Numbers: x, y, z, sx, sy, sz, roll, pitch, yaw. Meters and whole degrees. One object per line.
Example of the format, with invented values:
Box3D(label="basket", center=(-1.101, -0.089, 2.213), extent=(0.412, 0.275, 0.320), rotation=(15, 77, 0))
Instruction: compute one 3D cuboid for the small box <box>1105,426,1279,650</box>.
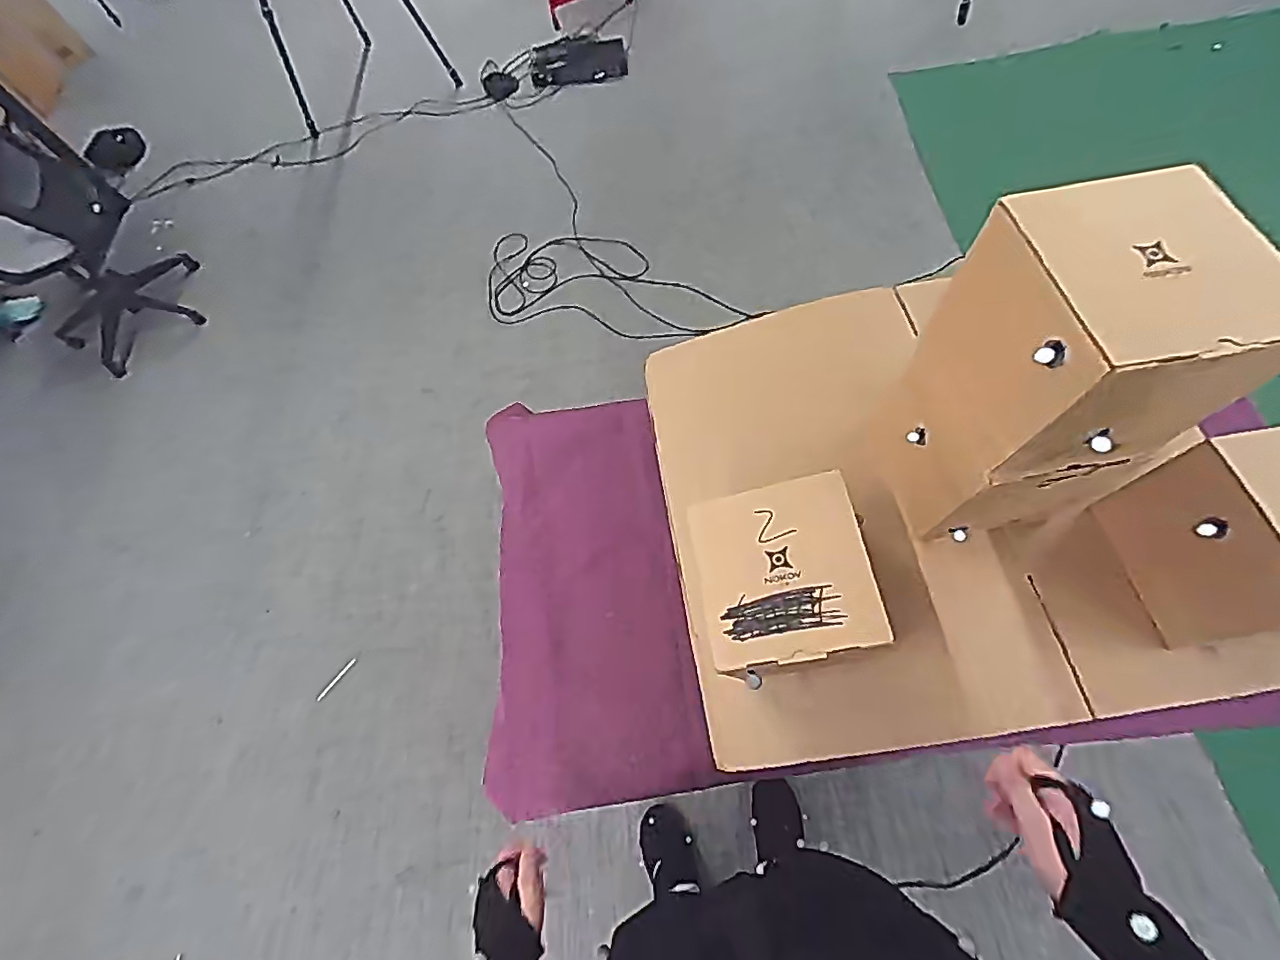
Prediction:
Box3D(label="small box", center=(0.631, 0.059, 0.538), extent=(0.168, 0.176, 0.179), rotation=(-9, 65, 1))

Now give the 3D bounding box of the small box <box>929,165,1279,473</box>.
Box3D(label="small box", center=(0.385, -0.128, 0.464), extent=(0.168, 0.176, 0.179), rotation=(-10, 65, -1))

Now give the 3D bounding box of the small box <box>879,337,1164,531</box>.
Box3D(label="small box", center=(0.399, -0.052, 0.606), extent=(0.168, 0.176, 0.179), rotation=(-9, 63, -1))
